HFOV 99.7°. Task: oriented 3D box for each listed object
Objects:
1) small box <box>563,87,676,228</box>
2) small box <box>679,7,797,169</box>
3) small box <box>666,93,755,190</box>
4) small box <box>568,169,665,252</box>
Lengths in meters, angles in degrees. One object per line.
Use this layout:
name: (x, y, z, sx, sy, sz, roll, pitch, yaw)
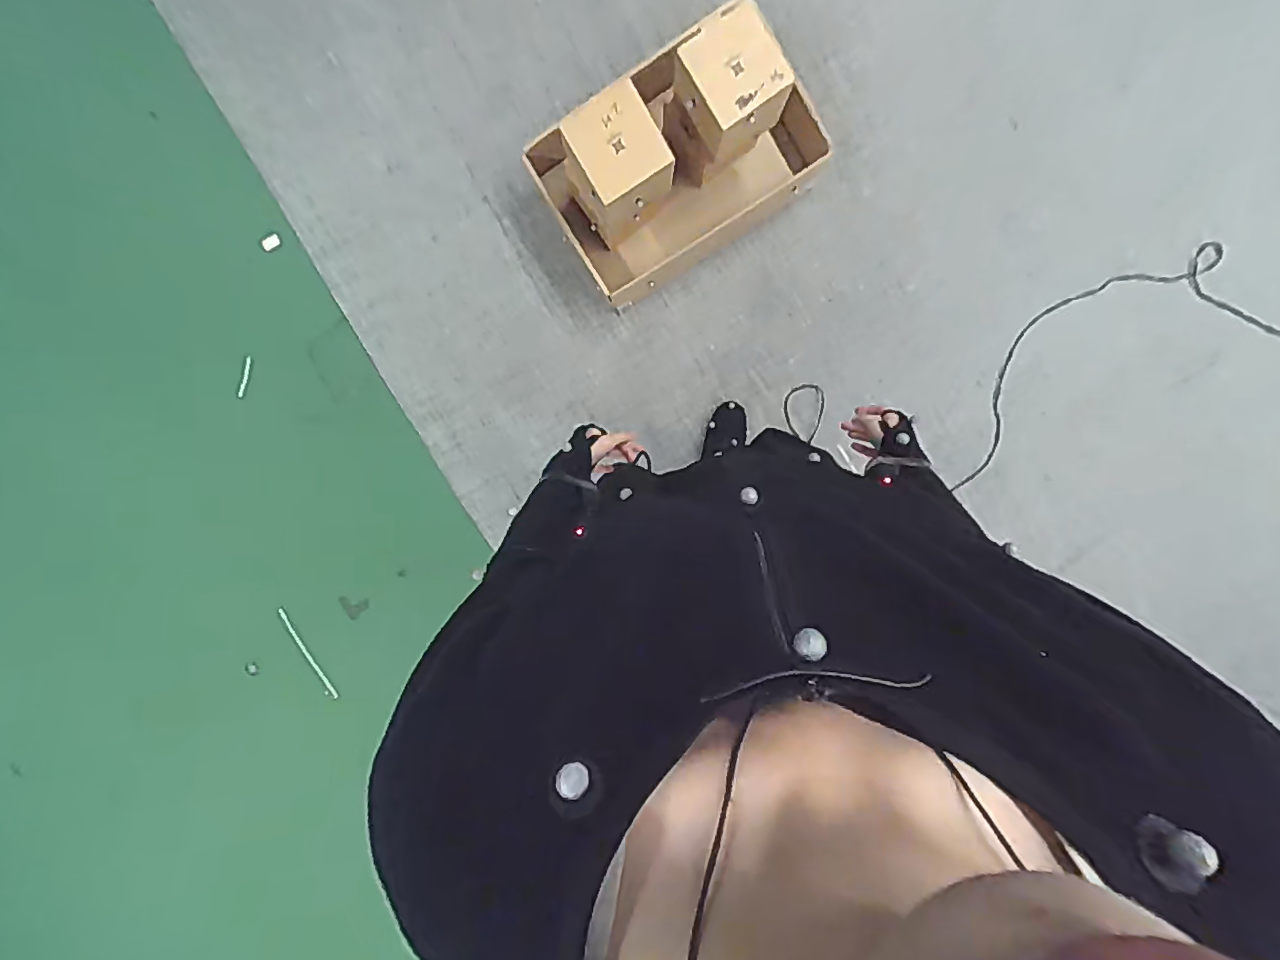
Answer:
small box: (-0.038, -0.660, 1.140, 0.168, 0.176, 0.179, -31, 96, 4)
small box: (0.191, -0.794, 1.117, 0.168, 0.176, 0.179, -32, 95, 6)
small box: (0.178, -0.831, 1.277, 0.179, 0.176, 0.168, -36, 96, 5)
small box: (-0.047, -0.683, 1.302, 0.179, 0.176, 0.168, -35, 96, 4)
